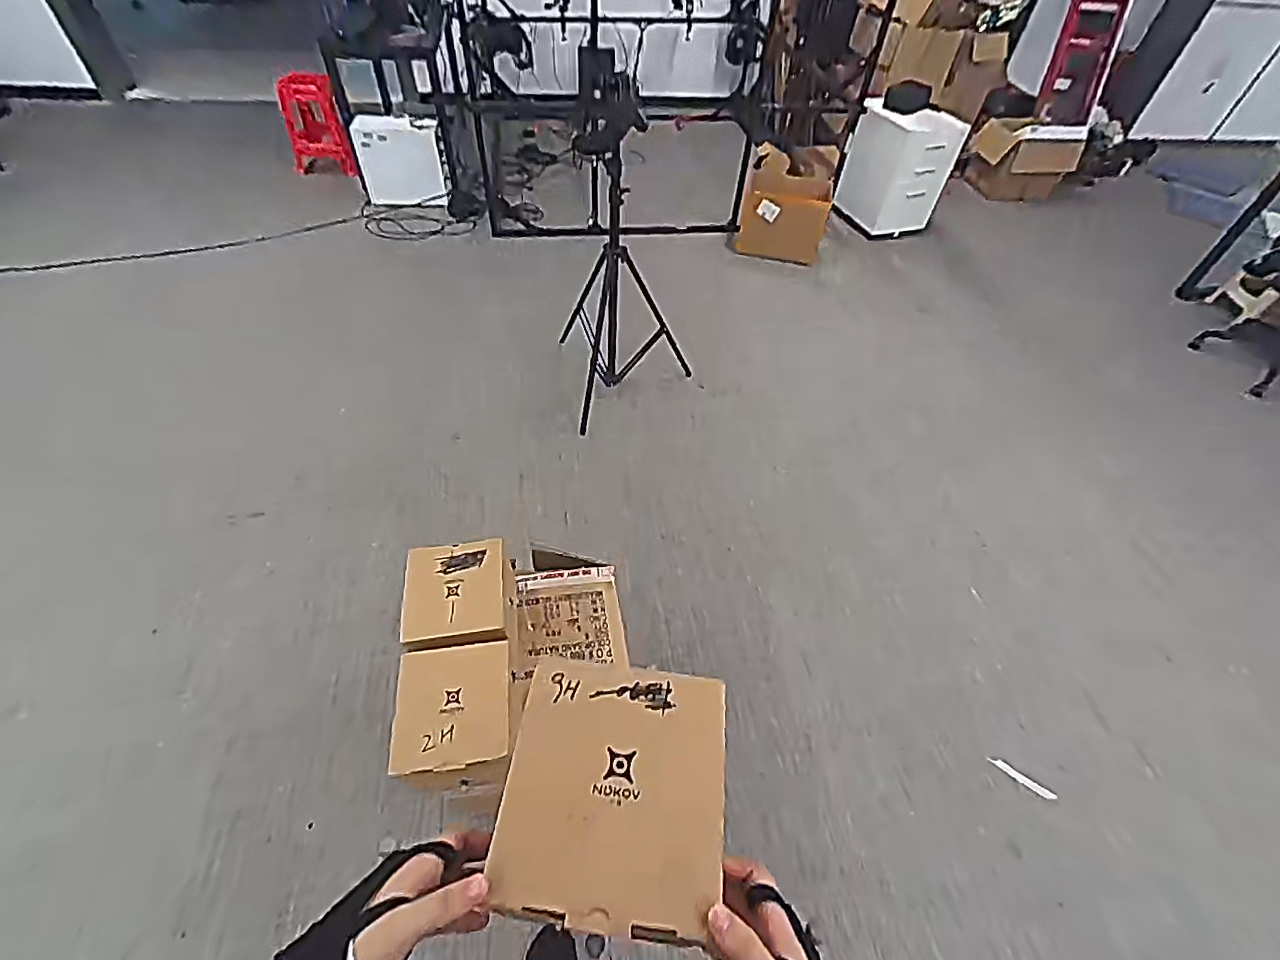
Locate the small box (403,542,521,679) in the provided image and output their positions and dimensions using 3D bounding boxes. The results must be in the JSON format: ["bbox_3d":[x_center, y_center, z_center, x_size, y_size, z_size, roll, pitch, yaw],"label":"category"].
[{"bbox_3d":[-0.311,0.237,0.977,0.168,0.176,0.179,-7,53,-7],"label":"small box"}]
